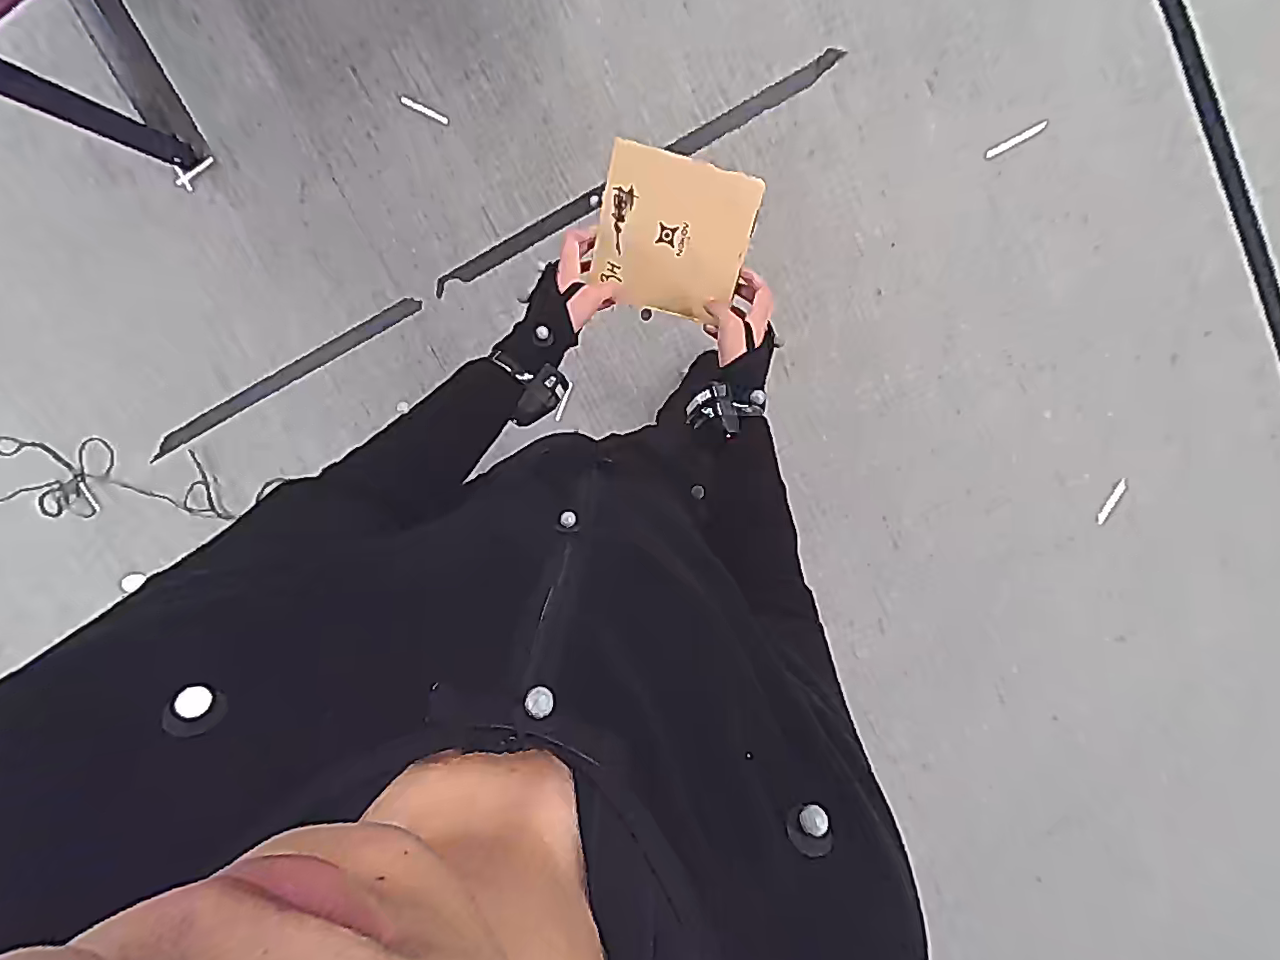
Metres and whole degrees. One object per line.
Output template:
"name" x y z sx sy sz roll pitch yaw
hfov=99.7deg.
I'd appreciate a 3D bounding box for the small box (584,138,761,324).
"small box" 0.029 -0.312 0.700 0.179 0.176 0.168 11 110 -9
